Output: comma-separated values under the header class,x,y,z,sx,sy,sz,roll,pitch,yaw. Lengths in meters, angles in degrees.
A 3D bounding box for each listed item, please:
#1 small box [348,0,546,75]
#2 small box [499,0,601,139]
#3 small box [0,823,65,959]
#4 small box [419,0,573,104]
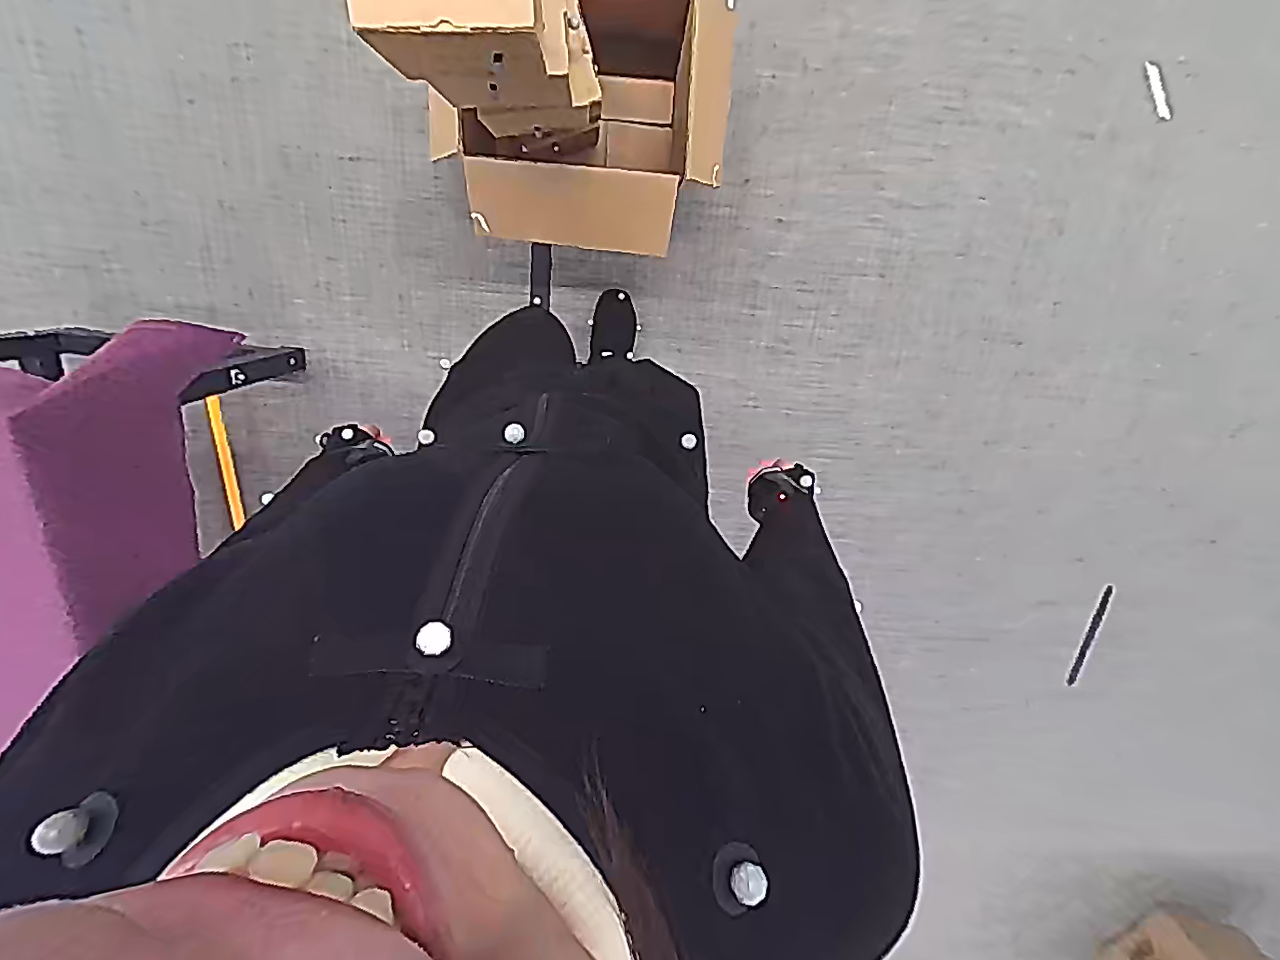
class,x,y,z,sx,sy,sz,roll,pitch,yaw
small box,-0.184,-0.519,0.527,0.168,0.176,0.179,-3,114,-5
small box,-0.175,-0.738,0.970,0.179,0.176,0.168,-17,114,1
small box,-1.124,0.699,0.899,0.179,0.176,0.168,8,110,-4
small box,-0.179,-0.586,0.677,0.179,0.176,0.168,-4,115,-4
